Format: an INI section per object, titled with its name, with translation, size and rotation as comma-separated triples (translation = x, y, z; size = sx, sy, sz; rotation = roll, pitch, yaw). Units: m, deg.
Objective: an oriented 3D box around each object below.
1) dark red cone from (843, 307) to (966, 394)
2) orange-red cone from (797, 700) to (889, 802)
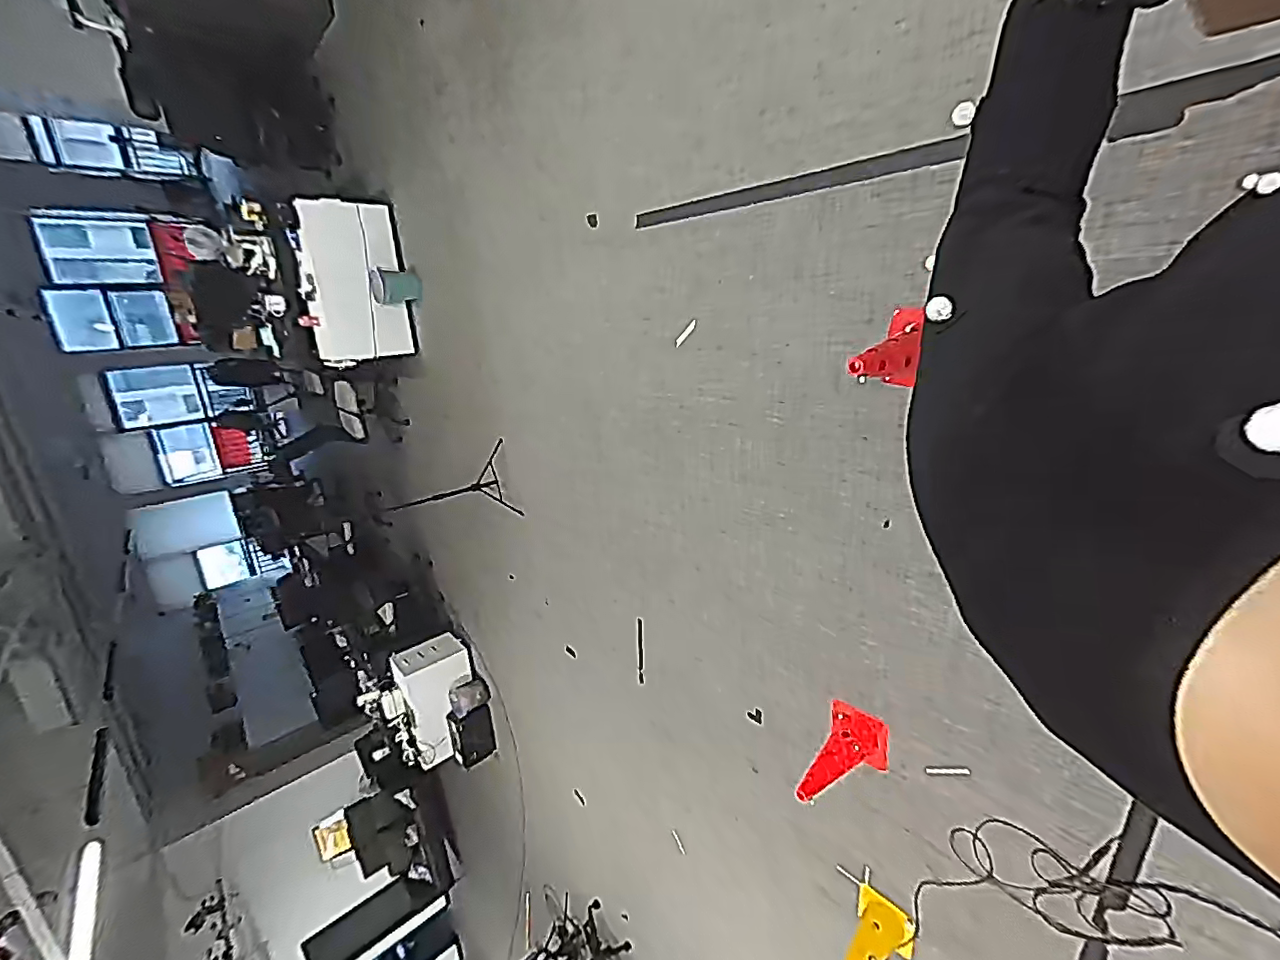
[dark red cone]
translation = 0.589, -0.291, 1.273
size = 0.201, 0.394, 0.202
rotation = 24, 122, 42
[orange-red cone]
translation = 0.626, 0.919, 1.749
size = 0.198, 0.360, 0.199
rotation = 15, 117, 48
